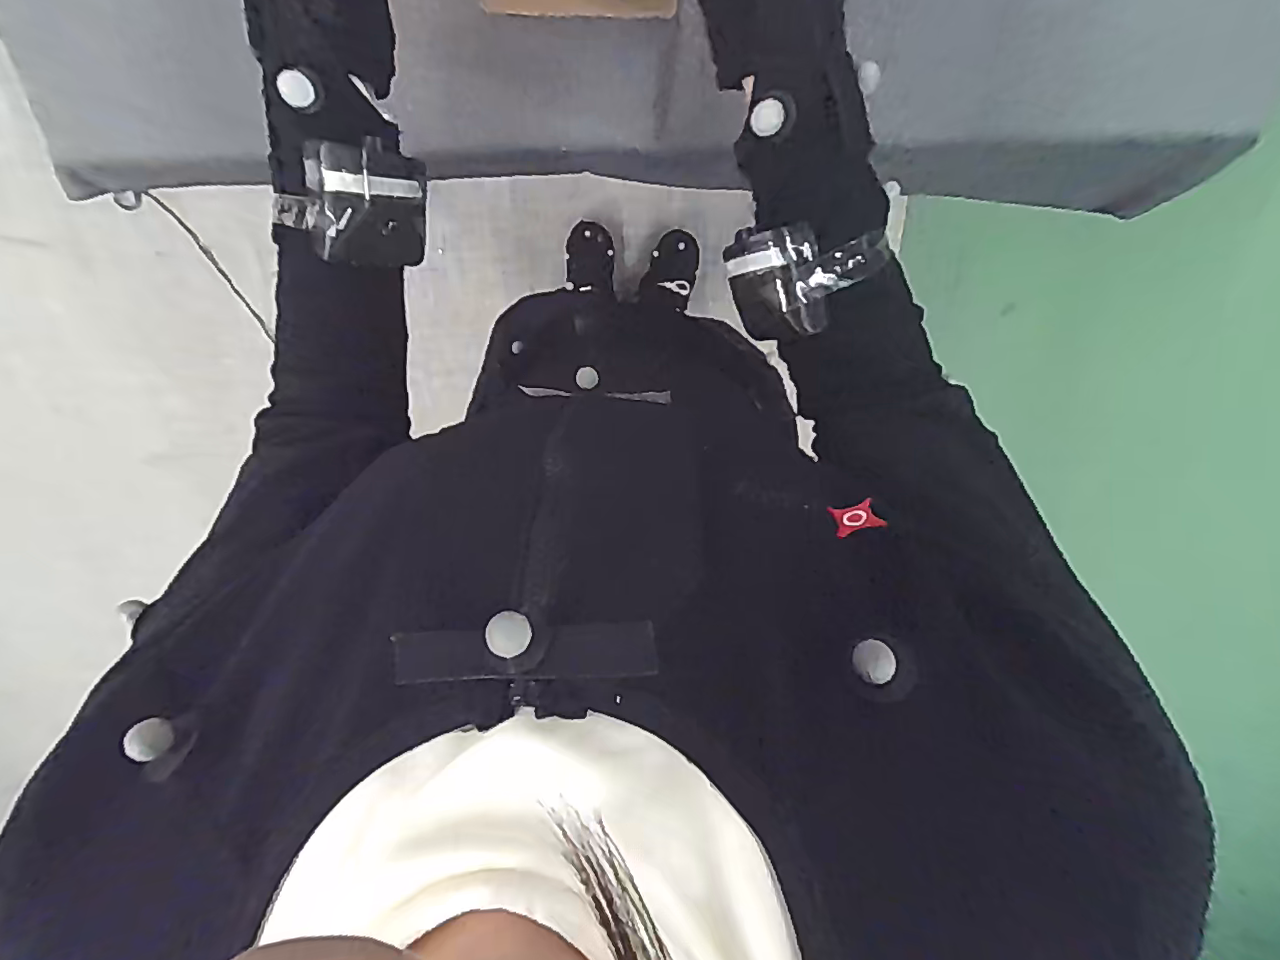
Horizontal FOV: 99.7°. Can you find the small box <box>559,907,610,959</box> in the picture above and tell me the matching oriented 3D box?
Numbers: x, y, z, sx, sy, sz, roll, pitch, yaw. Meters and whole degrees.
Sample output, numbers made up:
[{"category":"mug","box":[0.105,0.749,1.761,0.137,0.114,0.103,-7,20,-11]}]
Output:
[{"category":"small box","box":[-0.197,1.654,1.914,0.168,0.176,0.179,4,115,0]}]

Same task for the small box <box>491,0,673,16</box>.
[{"category":"small box","box":[-0.053,-0.467,0.394,0.179,0.176,0.168,0,117,1]}]
